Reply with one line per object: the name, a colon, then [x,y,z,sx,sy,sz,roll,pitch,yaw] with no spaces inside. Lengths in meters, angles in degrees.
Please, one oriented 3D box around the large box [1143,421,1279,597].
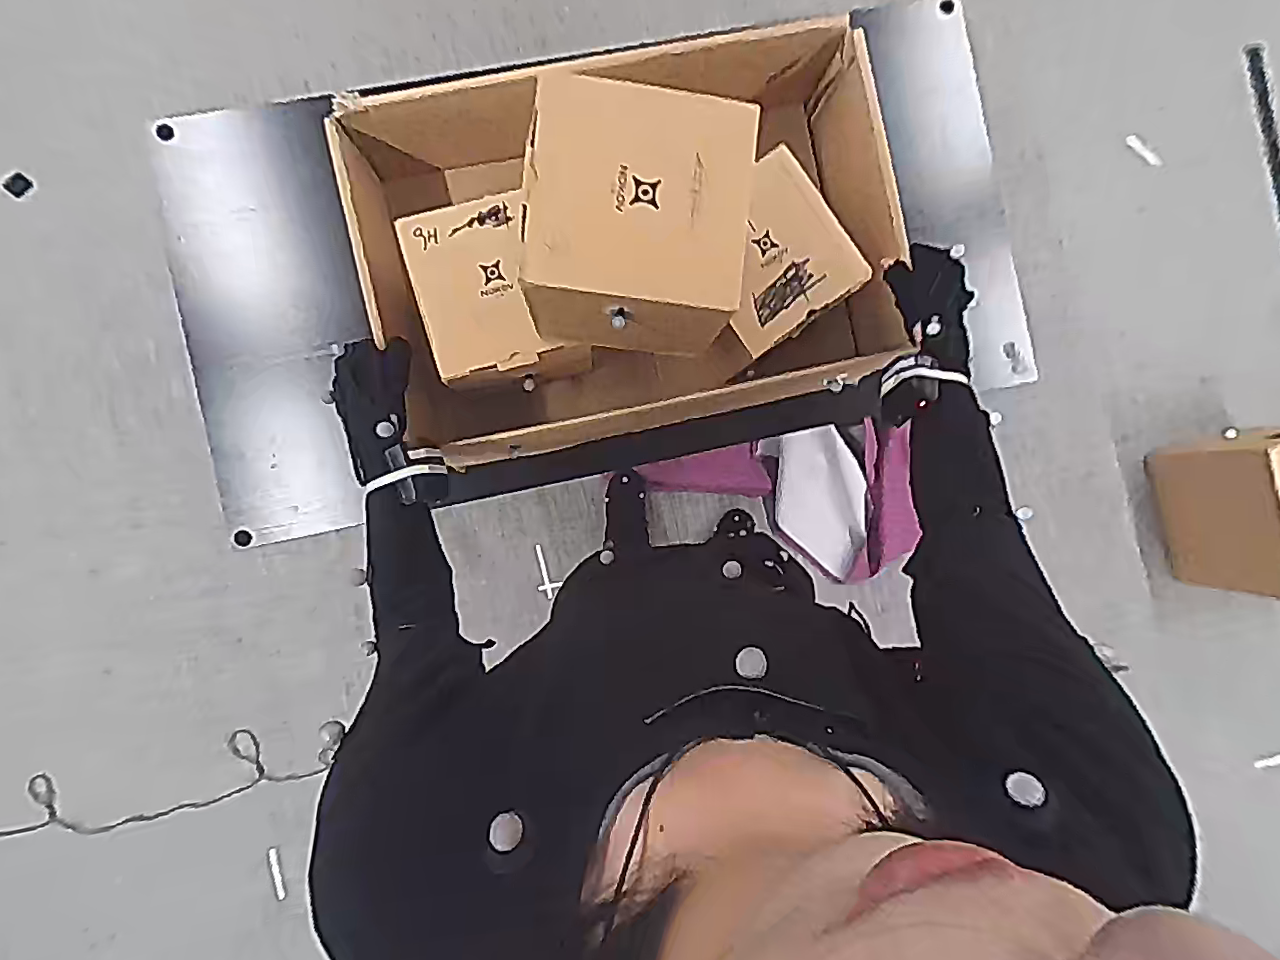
large box: [1.707,0.068,1.483,0.320,0.320,0.408,-16,91,-3]
